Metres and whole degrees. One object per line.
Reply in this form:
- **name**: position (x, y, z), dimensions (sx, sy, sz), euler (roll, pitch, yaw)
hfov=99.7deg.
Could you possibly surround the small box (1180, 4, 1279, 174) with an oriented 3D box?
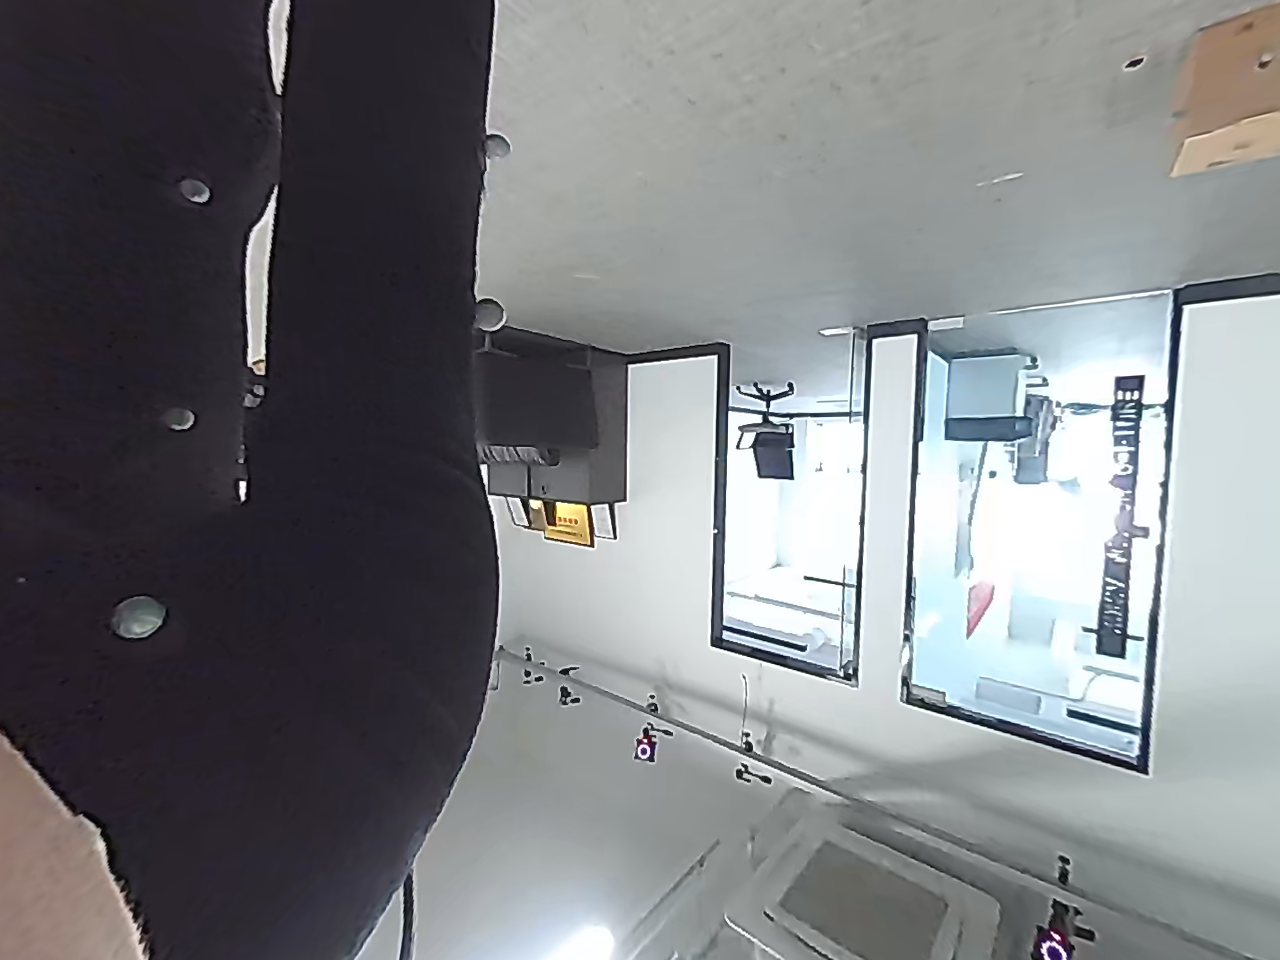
- **small box**: position (1.016, -0.644, 0.884), dimensions (0.168, 0.176, 0.179), euler (4, -176, 37)
